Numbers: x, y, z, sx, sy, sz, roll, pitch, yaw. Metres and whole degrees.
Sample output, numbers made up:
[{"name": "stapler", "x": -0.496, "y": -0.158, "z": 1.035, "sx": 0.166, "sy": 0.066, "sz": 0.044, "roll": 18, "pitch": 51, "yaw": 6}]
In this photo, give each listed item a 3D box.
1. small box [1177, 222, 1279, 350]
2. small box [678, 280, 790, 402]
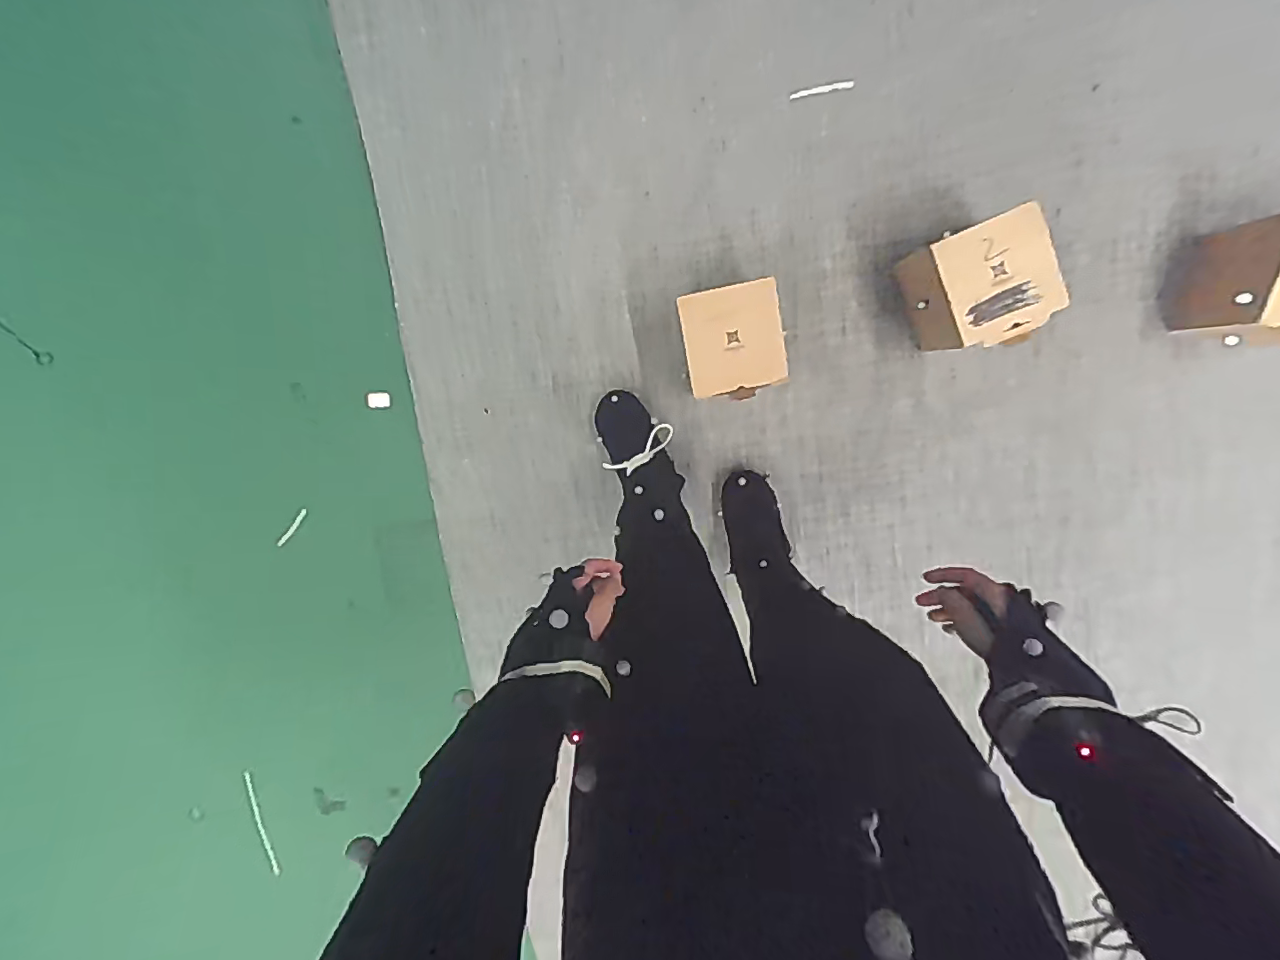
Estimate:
[{"name": "small box", "x": 1.055, "y": -0.316, "z": 0.884, "sx": 0.168, "sy": 0.176, "sz": 0.179, "roll": 12, "pitch": 103, "yaw": 3}, {"name": "small box", "x": 0.166, "y": -0.246, "z": 0.981, "sx": 0.168, "sy": 0.176, "sz": 0.179, "roll": -10, "pitch": 99, "yaw": 6}]
